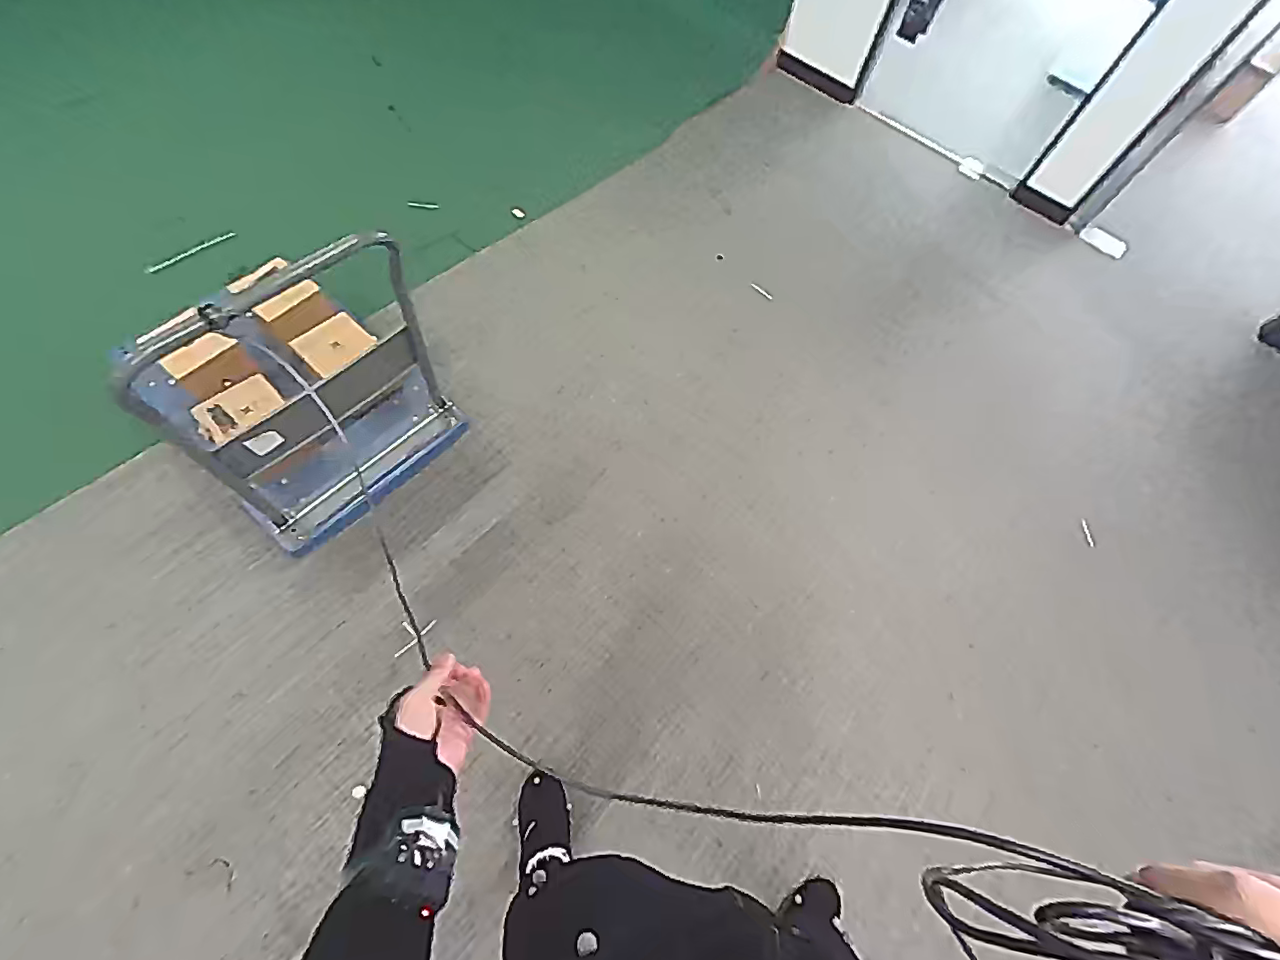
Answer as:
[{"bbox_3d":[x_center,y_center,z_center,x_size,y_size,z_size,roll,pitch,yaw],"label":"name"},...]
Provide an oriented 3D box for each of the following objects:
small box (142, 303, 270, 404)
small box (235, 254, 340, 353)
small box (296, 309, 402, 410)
[{"bbox_3d":[-1.148,-0.329,1.447,0.179,0.176,0.168,37,65,11],"label":"small box"},{"bbox_3d":[-0.994,-0.500,1.550,0.179,0.176,0.168,38,66,10],"label":"small box"},{"bbox_3d":[-0.795,-0.327,1.492,0.179,0.176,0.168,42,66,12],"label":"small box"}]
